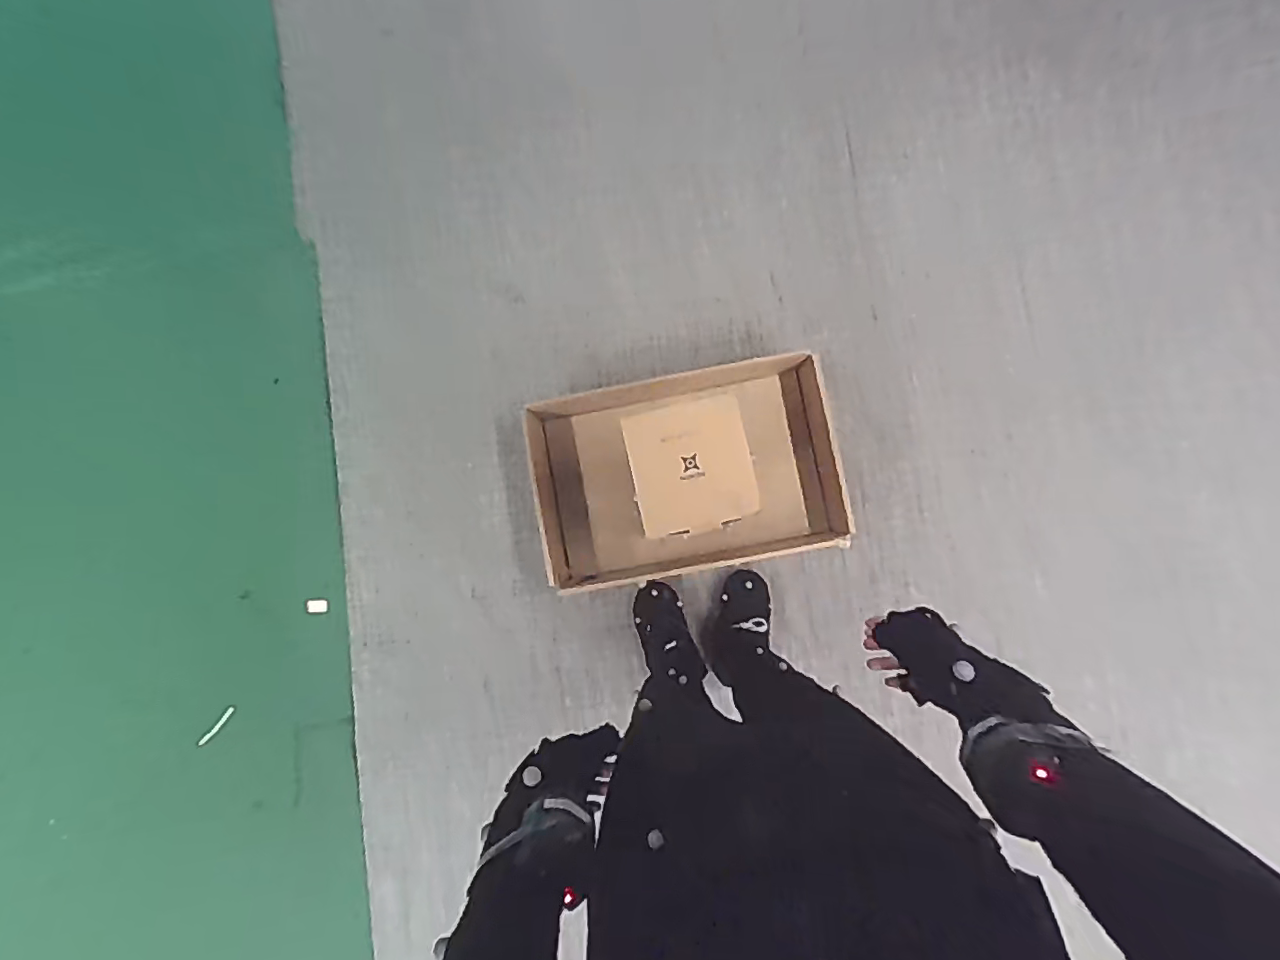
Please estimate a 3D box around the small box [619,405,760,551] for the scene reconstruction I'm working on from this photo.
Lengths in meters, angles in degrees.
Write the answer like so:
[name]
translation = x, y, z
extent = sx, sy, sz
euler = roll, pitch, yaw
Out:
[small box]
translation = 0.071, 0.004, 0.821
extent = 0.168, 0.176, 0.179
euler = -13, 83, 1
